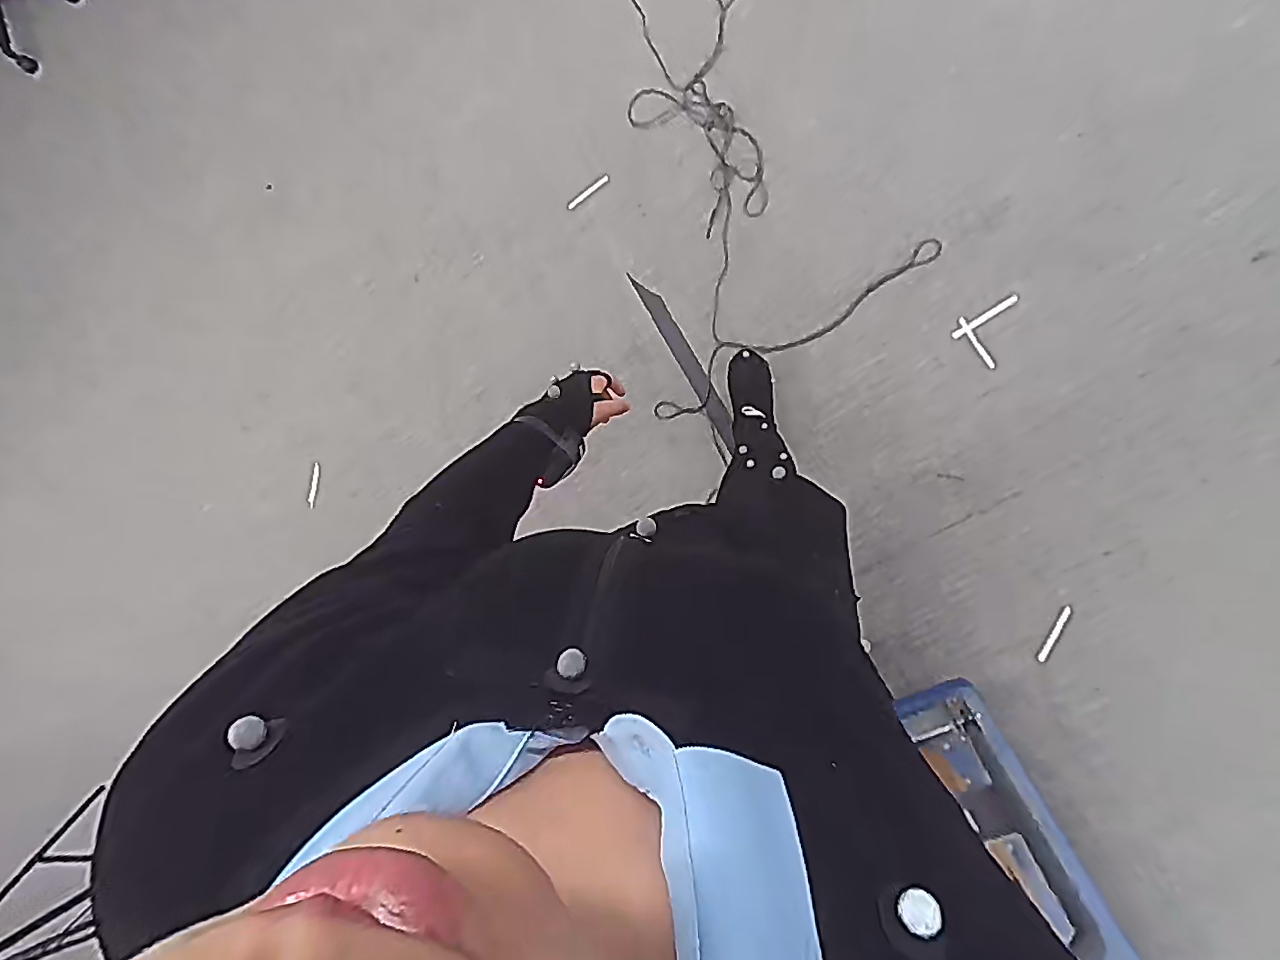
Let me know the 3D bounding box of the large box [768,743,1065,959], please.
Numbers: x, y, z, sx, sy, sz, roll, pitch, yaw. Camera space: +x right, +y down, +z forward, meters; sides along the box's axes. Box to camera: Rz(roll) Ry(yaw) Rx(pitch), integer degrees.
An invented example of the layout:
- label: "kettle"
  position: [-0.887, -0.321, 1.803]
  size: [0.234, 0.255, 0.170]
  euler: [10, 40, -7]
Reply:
- label: "large box"
  position: [0.518, 0.810, 1.073]
  size: [0.408, 0.320, 0.320]
  euler: [-35, 81, 16]
